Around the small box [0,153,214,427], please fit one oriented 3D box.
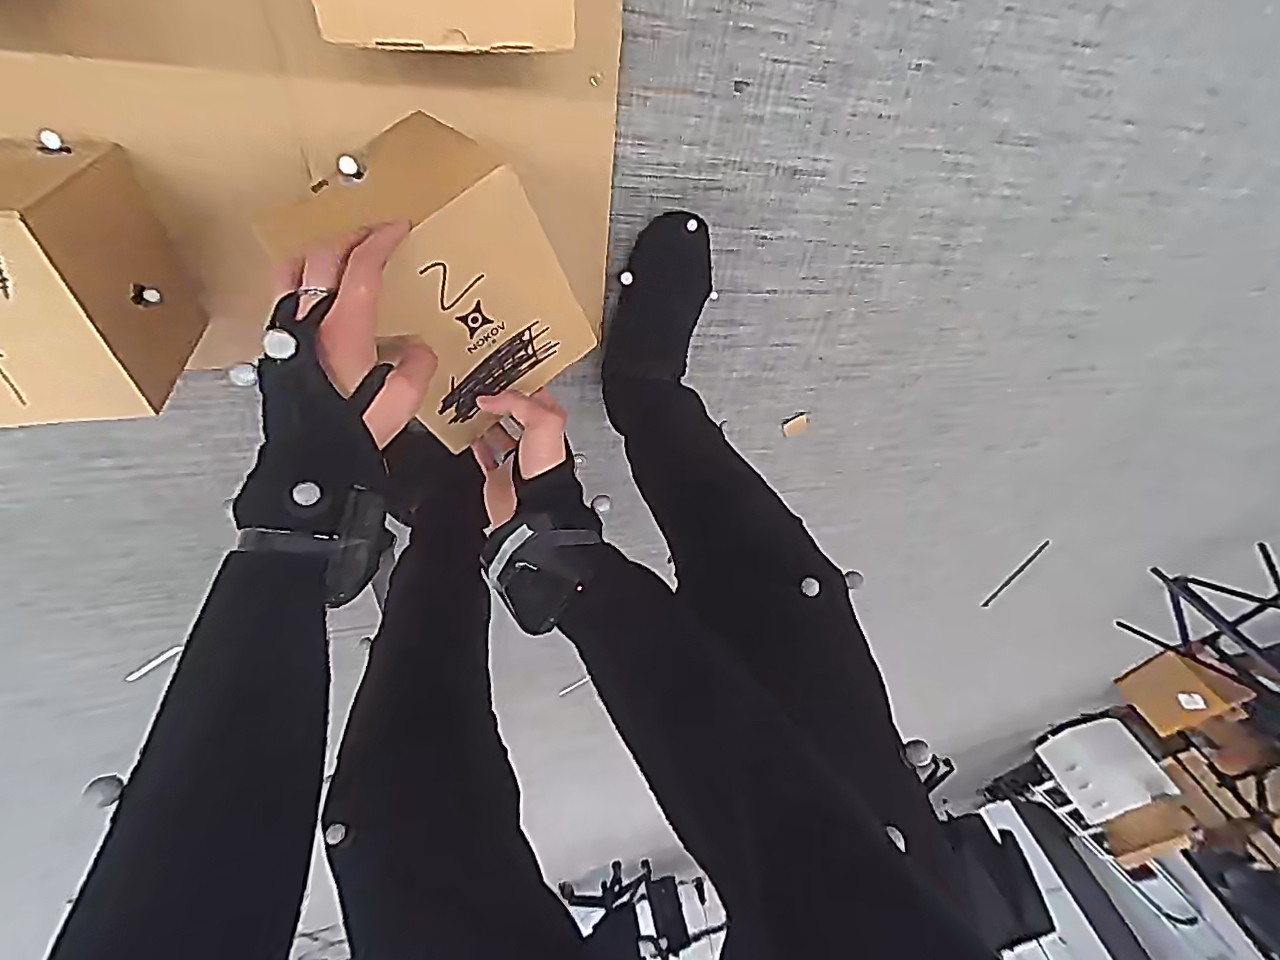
[{"bbox_3d":[-0.515,-0.167,0.464,0.168,0.176,0.179,-6,136,-14],"label":"small box"}]
